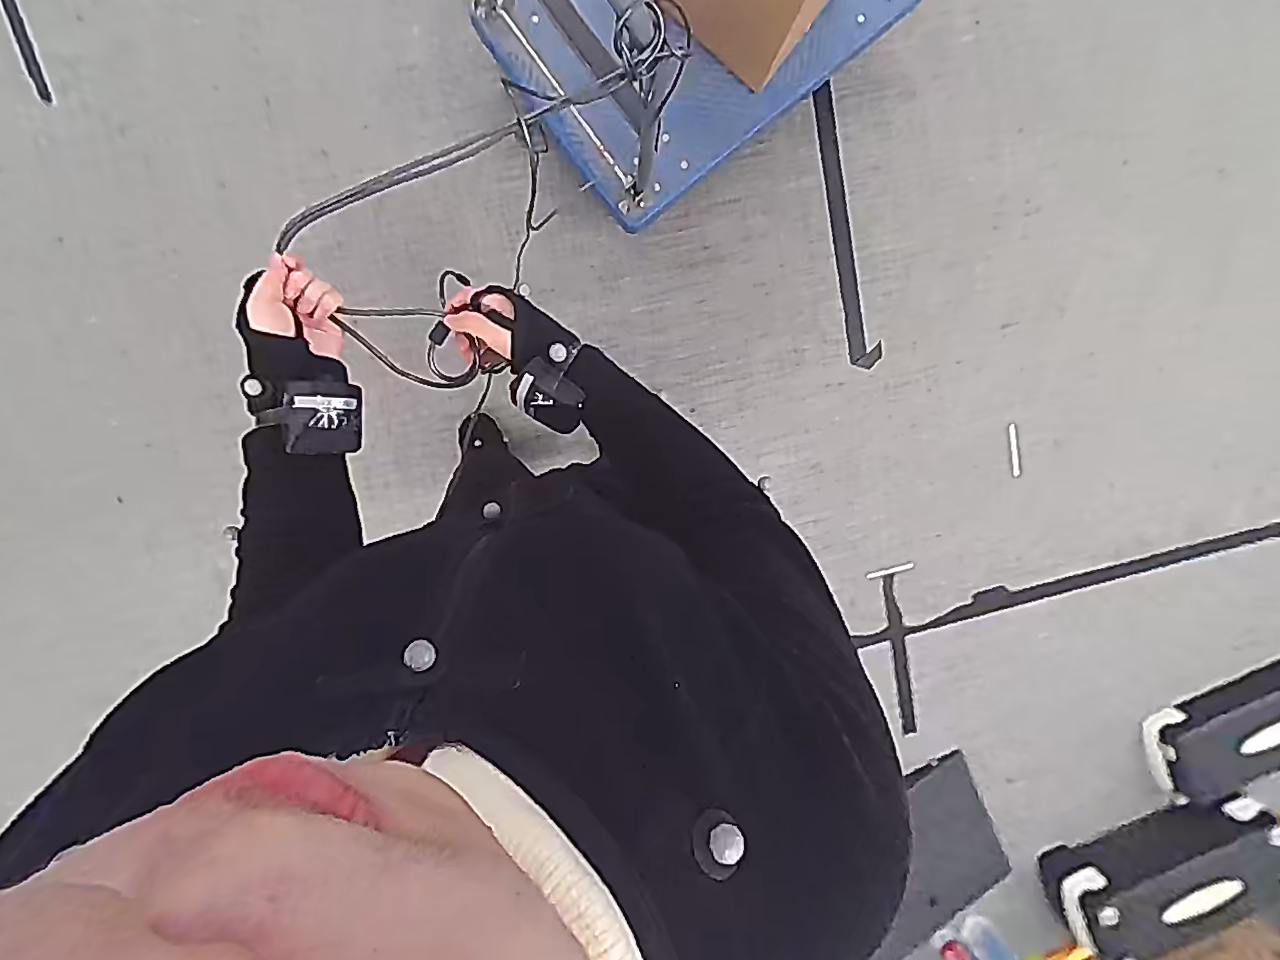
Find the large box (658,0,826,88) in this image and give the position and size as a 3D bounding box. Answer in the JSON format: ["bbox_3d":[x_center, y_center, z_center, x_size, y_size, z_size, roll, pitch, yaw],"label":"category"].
[{"bbox_3d":[0.207,-1.075,1.013,0.408,0.320,0.320,37,95,-9],"label":"large box"}]
